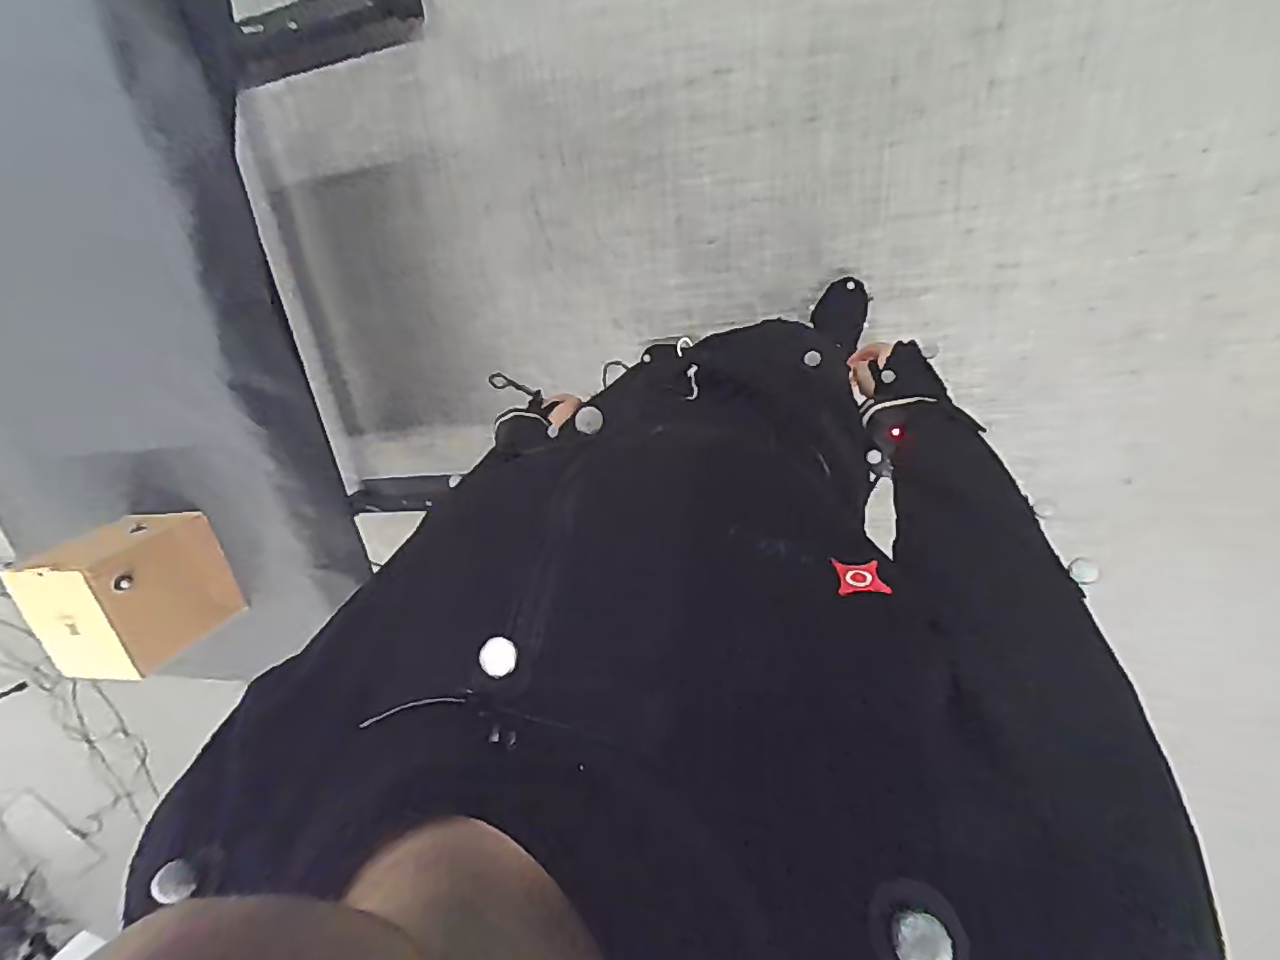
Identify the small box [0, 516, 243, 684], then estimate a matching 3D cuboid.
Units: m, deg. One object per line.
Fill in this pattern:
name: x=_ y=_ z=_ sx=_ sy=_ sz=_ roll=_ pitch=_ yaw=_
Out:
small box: x=-0.737 y=0.167 z=0.790 sx=0.168 sy=0.176 sz=0.179 roll=-4 pitch=110 yaw=16
